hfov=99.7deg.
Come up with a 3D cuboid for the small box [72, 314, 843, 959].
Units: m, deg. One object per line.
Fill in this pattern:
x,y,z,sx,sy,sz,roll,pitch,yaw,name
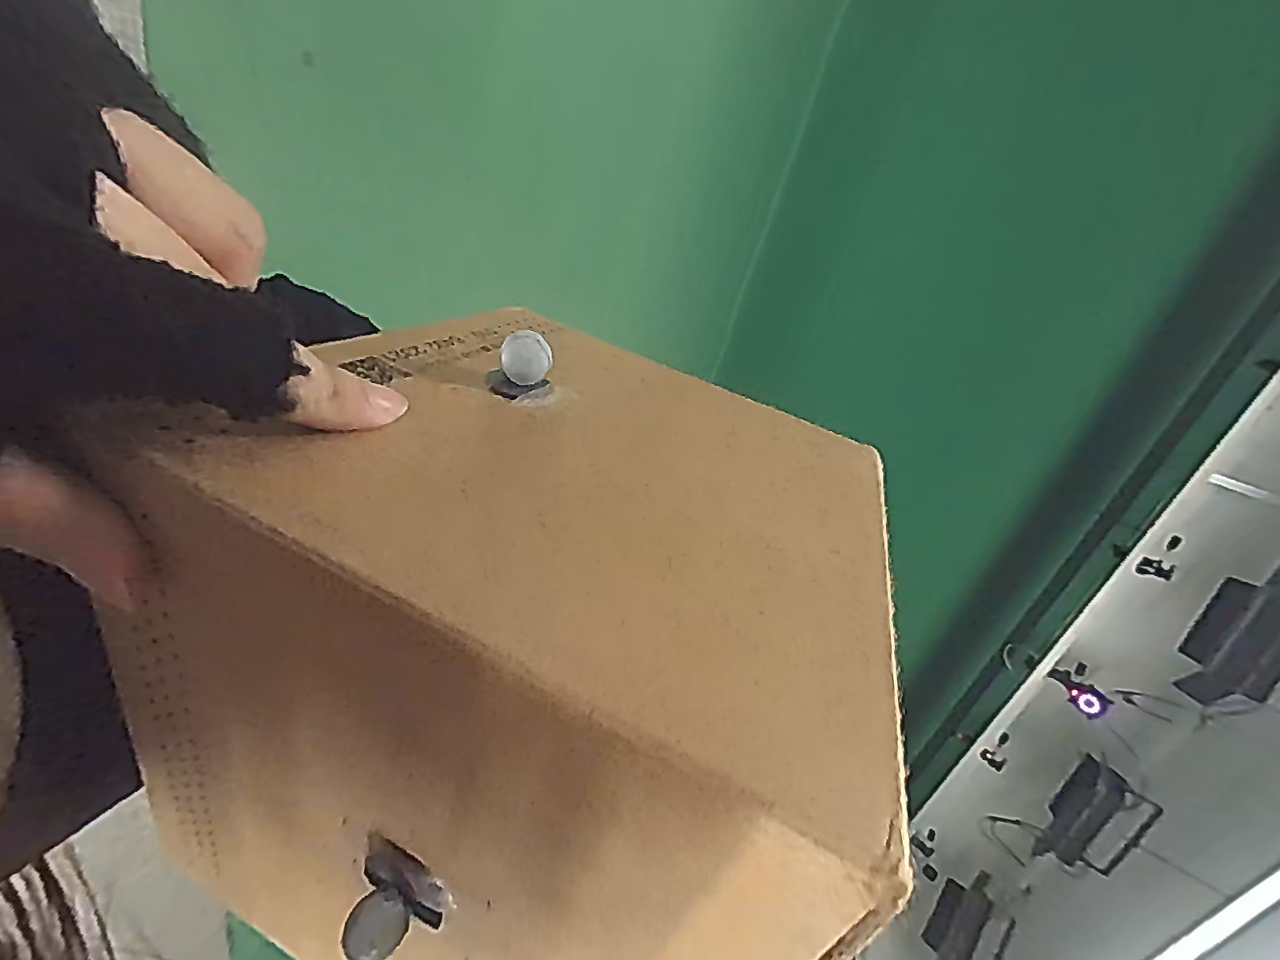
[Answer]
-0.044,0.057,0.203,0.168,0.176,0.179,-48,158,-60,small box
